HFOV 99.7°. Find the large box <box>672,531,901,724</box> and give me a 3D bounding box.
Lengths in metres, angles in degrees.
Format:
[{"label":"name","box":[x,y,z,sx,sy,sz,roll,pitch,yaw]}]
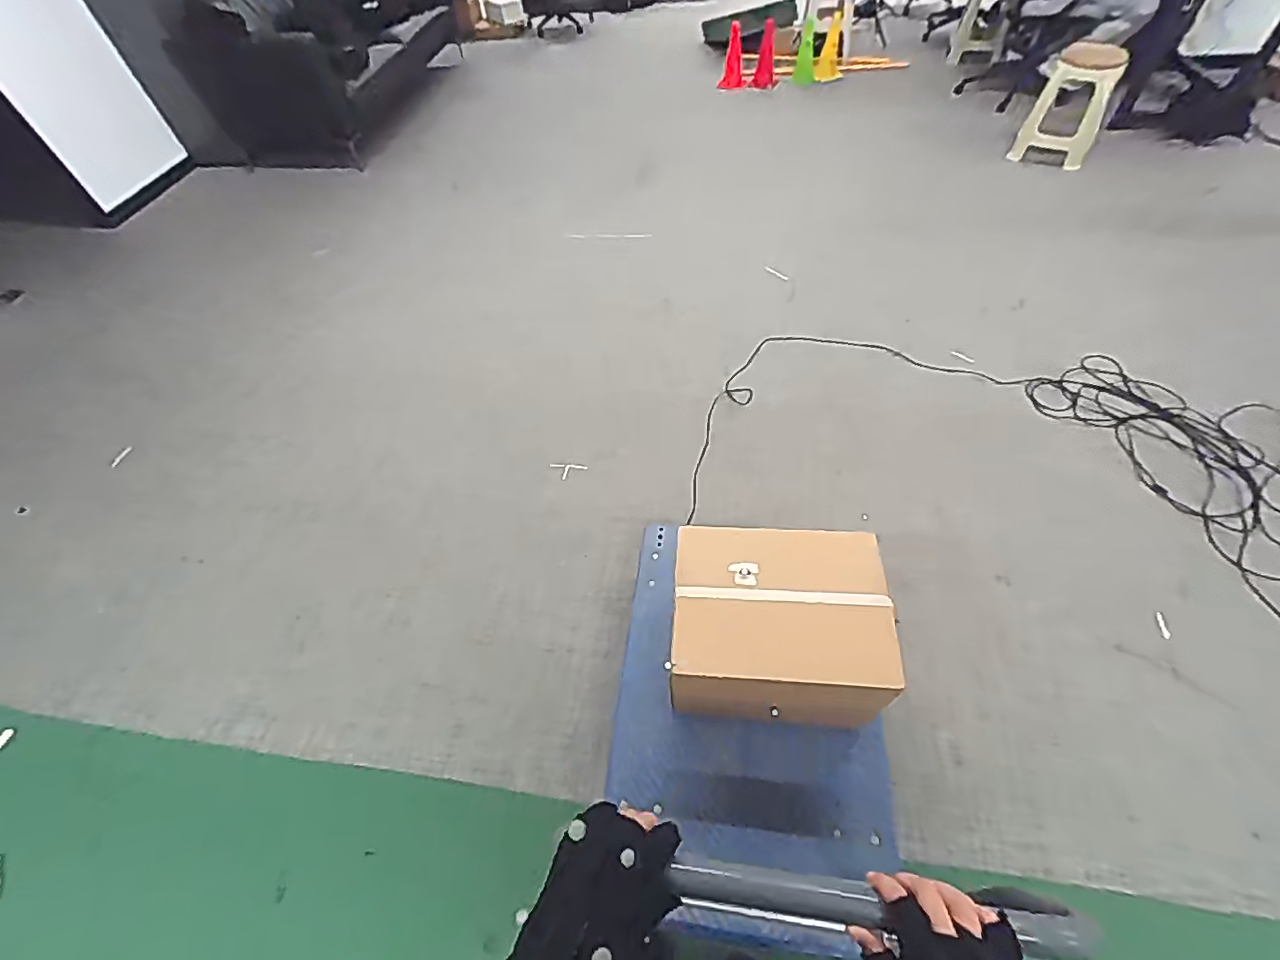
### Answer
[{"label":"large box","box":[0.280,0.321,1.160,0.408,0.320,0.320,1,53,7]}]
